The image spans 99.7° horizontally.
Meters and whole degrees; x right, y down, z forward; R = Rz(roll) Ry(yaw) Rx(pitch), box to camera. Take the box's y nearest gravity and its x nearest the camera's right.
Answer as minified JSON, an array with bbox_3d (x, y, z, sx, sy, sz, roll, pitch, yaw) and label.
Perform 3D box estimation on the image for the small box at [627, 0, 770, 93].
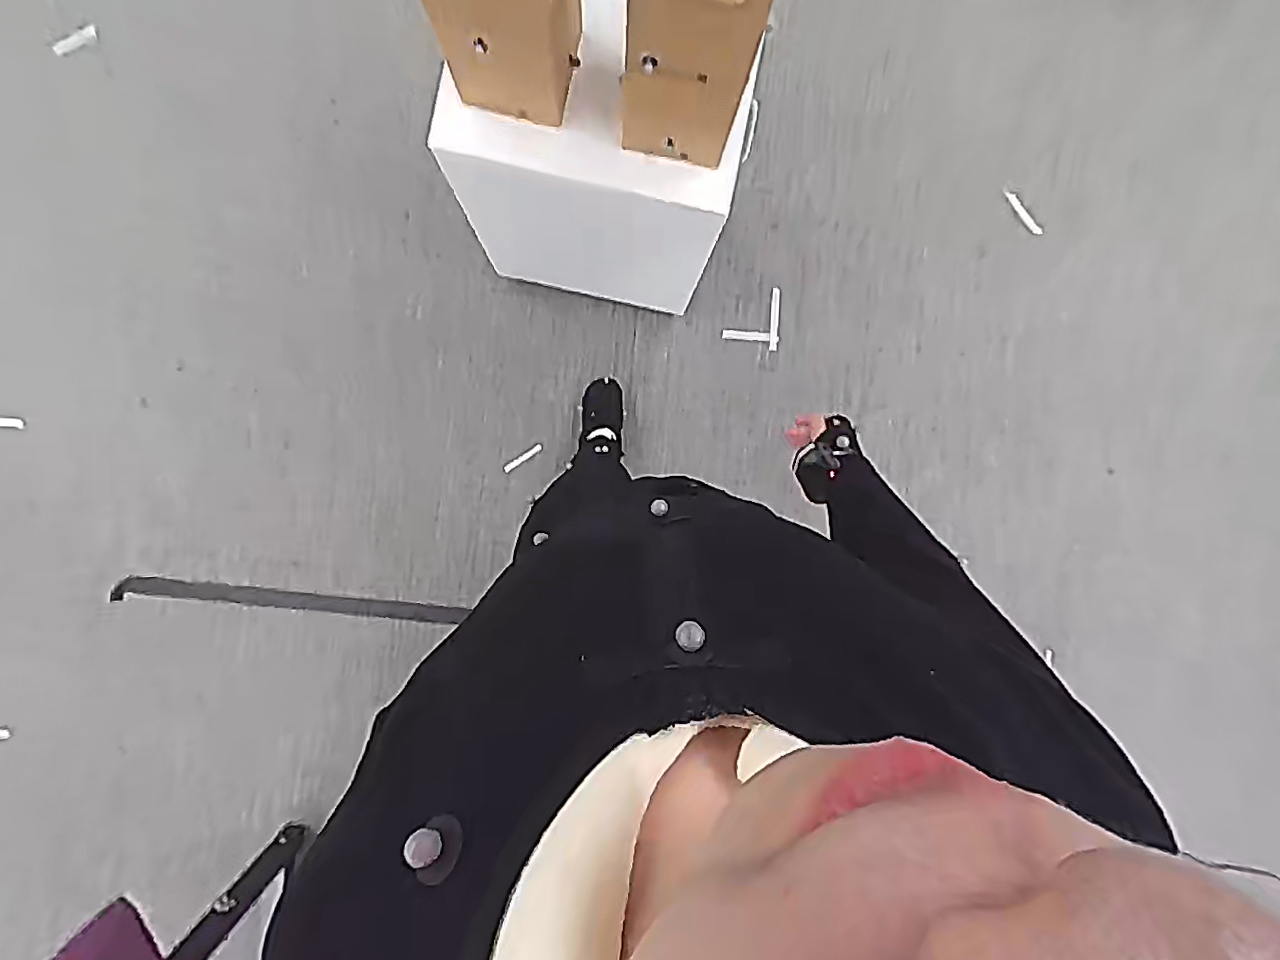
[{"bbox_3d":[0.078,-0.619,0.655,0.168,0.176,0.179,10,89,-3],"label":"small box"}]

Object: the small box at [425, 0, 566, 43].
[{"bbox_3d":[-0.178,-0.671,0.638,0.179,0.176,0.168,12,90,-4],"label":"small box"}]

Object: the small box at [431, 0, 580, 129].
[{"bbox_3d":[-0.187,-0.675,0.803,0.168,0.176,0.179,12,88,-3],"label":"small box"}]
